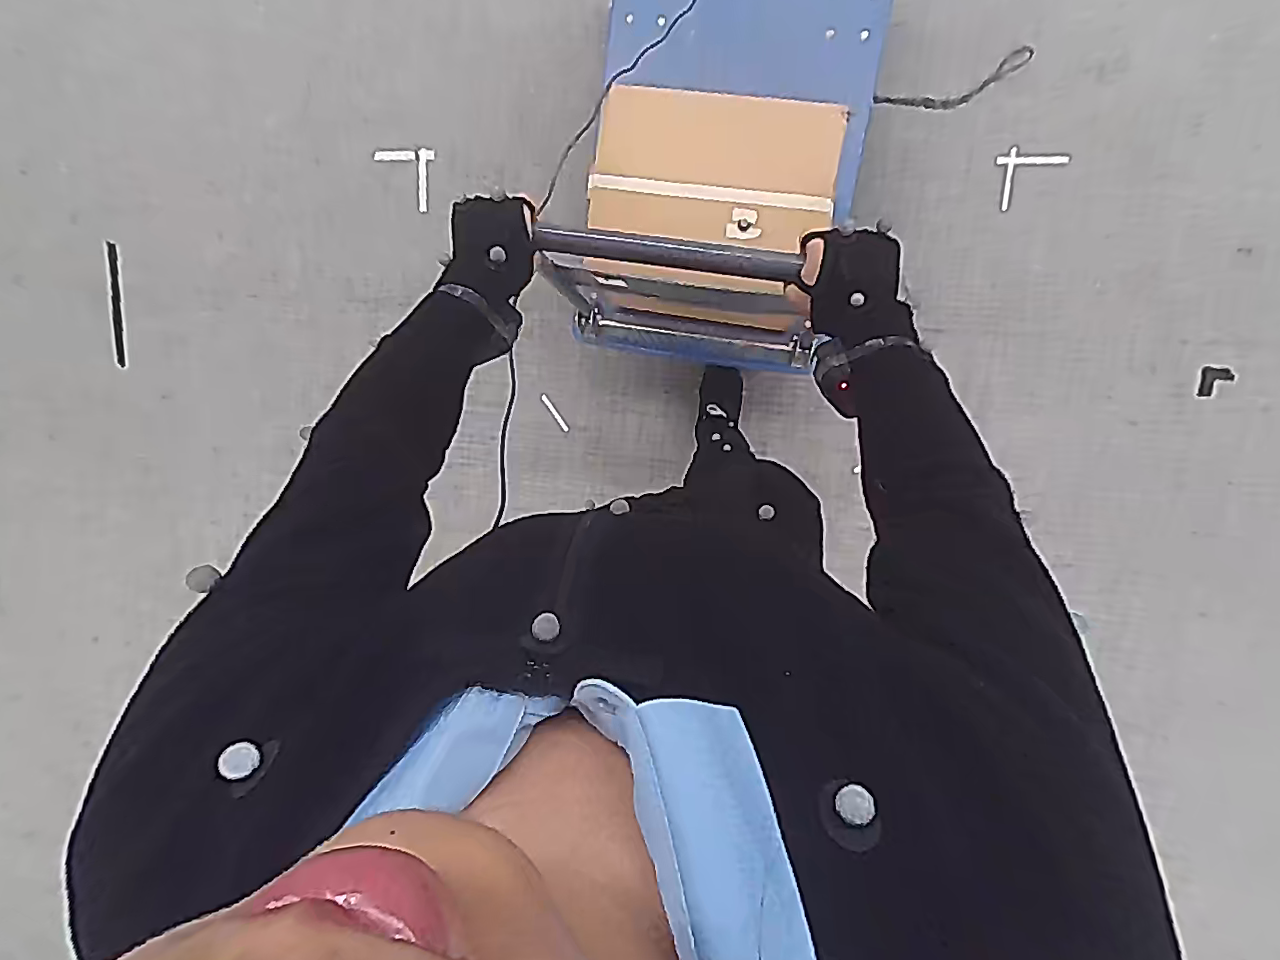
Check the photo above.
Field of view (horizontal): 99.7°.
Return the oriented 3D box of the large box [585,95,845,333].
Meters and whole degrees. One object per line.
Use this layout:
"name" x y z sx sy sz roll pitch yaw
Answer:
"large box" 0.132 -0.488 1.059 0.408 0.320 0.320 10 99 6
